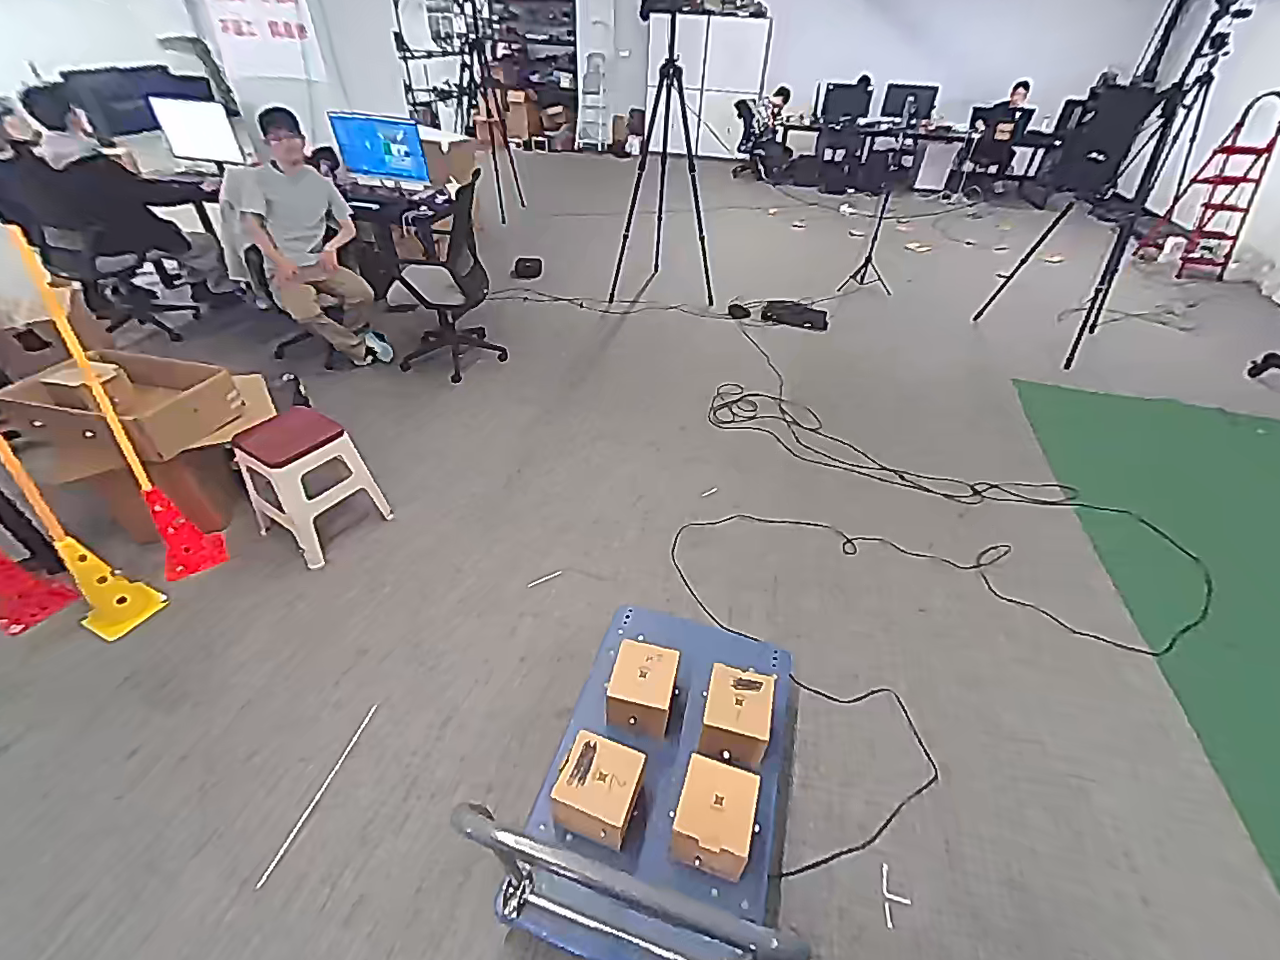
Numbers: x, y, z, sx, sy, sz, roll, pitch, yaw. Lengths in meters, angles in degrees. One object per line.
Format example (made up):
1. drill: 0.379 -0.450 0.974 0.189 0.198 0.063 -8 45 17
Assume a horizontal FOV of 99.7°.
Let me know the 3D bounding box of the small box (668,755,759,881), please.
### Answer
1. small box: 0.166 0.782 1.250 0.168 0.176 0.179 14 43 13

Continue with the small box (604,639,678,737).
1. small box: 0.004 0.573 1.482 0.168 0.176 0.179 11 41 9

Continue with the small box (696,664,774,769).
1. small box: 0.250 0.626 1.434 0.168 0.176 0.179 12 42 11
